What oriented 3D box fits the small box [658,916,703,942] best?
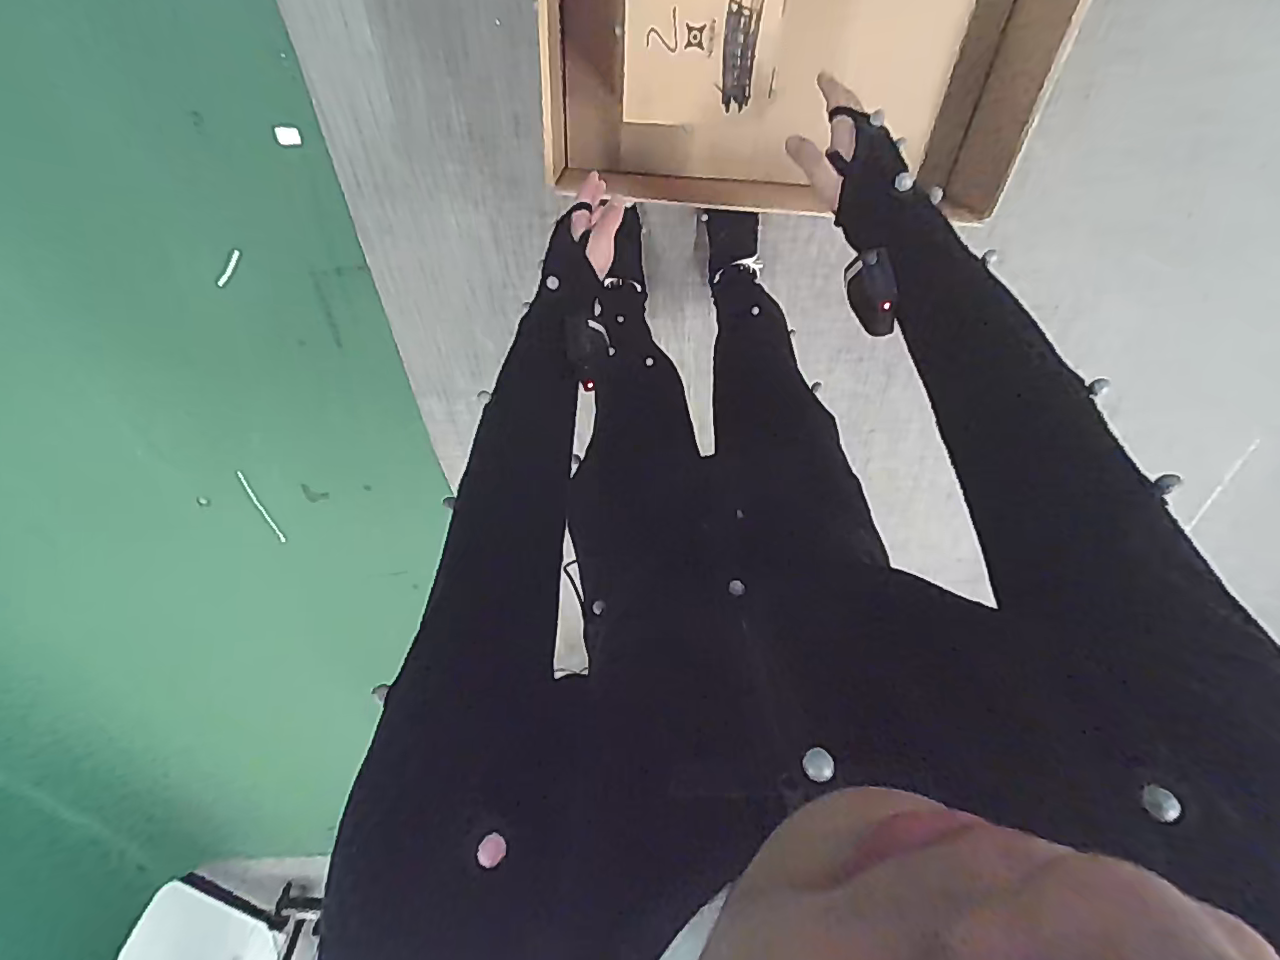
[{"bbox_3d":[0.156,1.669,2.105,0.168,0.176,0.179,-1,128,3],"label":"small box"}]
